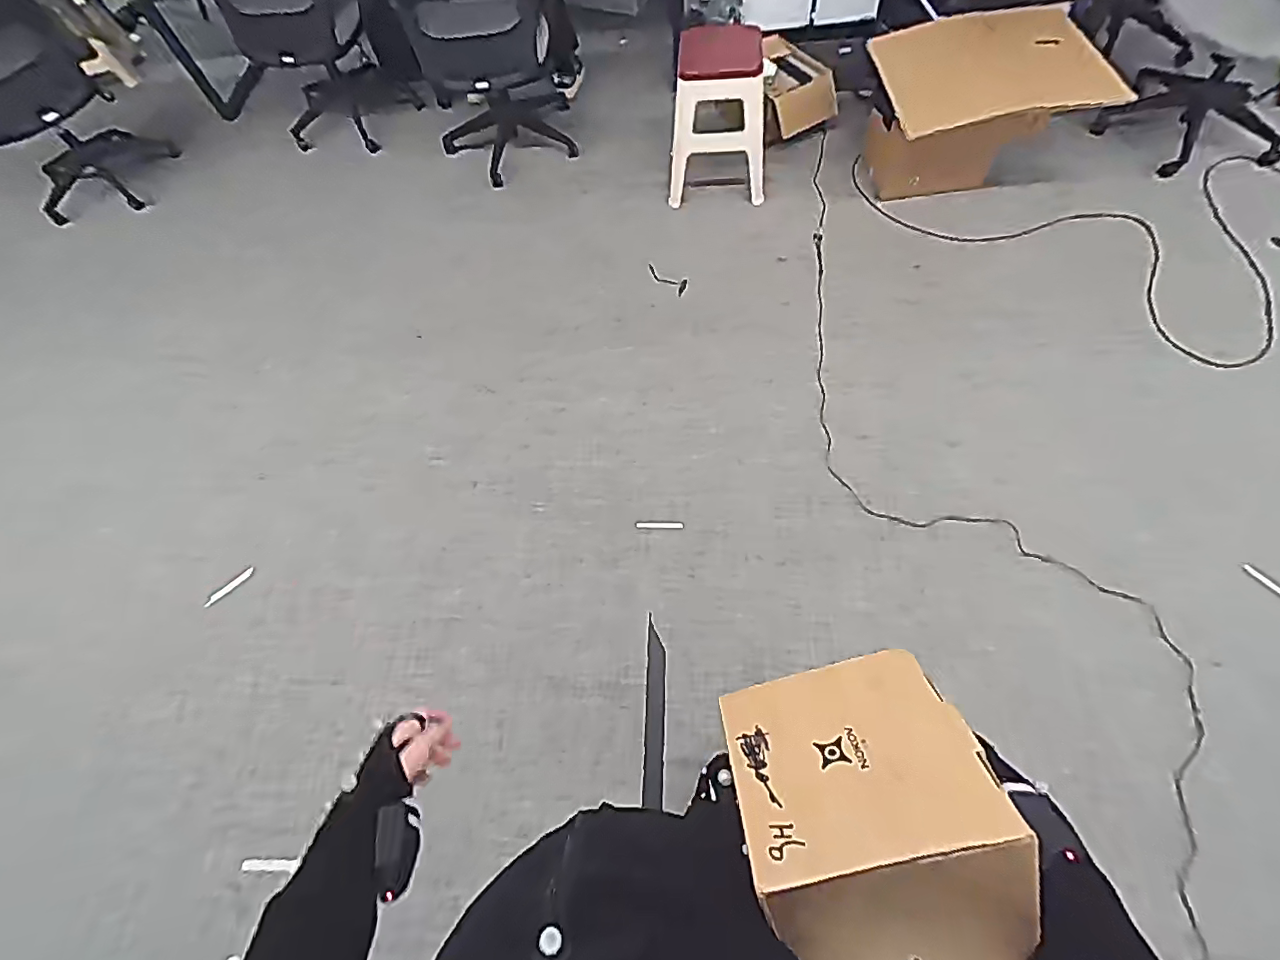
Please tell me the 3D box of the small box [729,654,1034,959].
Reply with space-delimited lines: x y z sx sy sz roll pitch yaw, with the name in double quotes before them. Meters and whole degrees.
"small box" 0.189 0.283 0.454 0.179 0.176 0.168 -17 23 6
